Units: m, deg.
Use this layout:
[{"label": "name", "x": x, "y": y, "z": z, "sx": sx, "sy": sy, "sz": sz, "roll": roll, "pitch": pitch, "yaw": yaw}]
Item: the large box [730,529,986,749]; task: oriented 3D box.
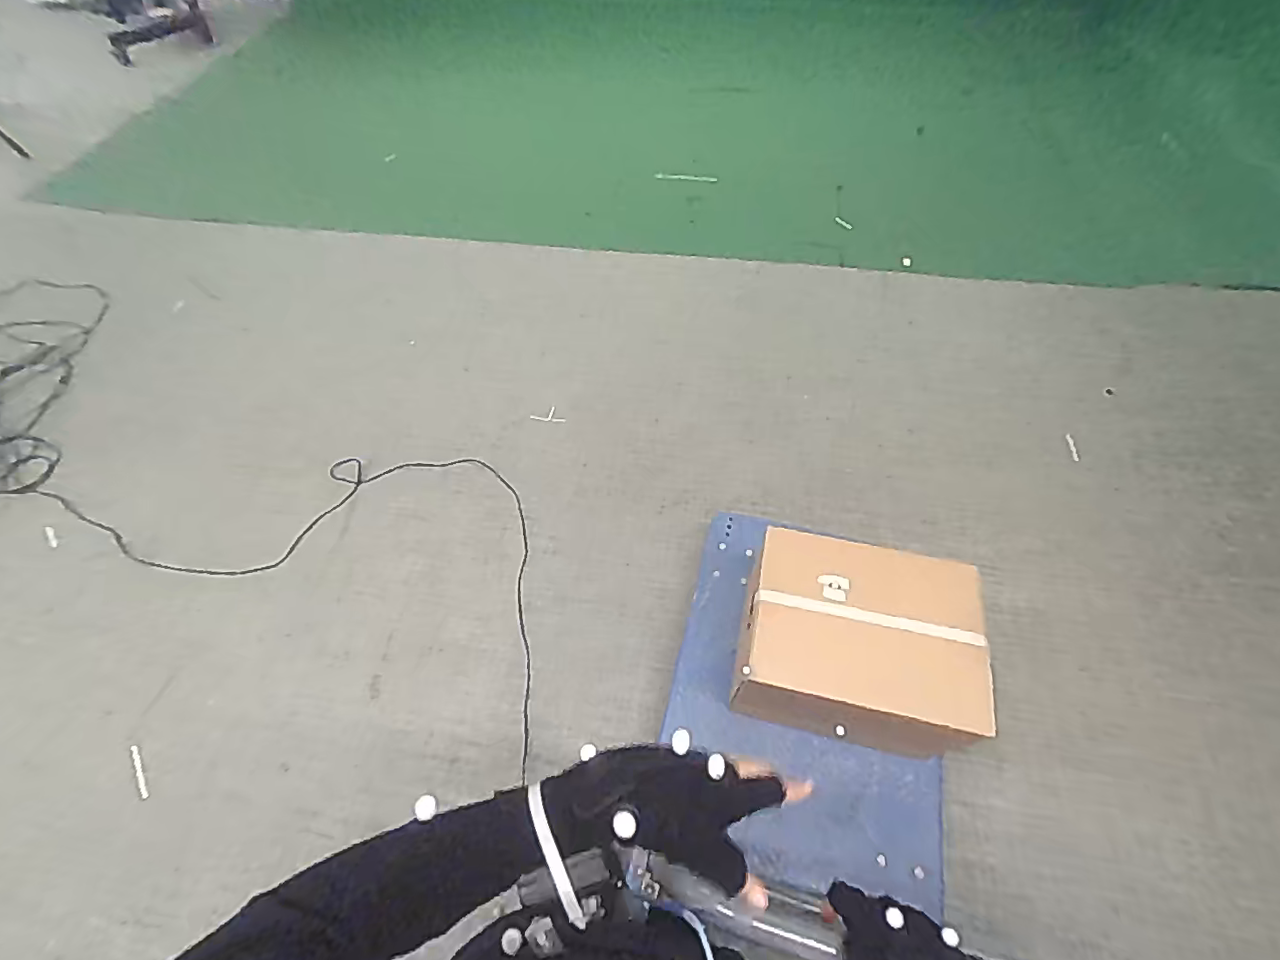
[{"label": "large box", "x": 0.419, "y": 0.336, "z": 1.124, "sx": 0.408, "sy": 0.320, "sz": 0.320, "roll": 10, "pitch": 57, "yaw": 9}]
